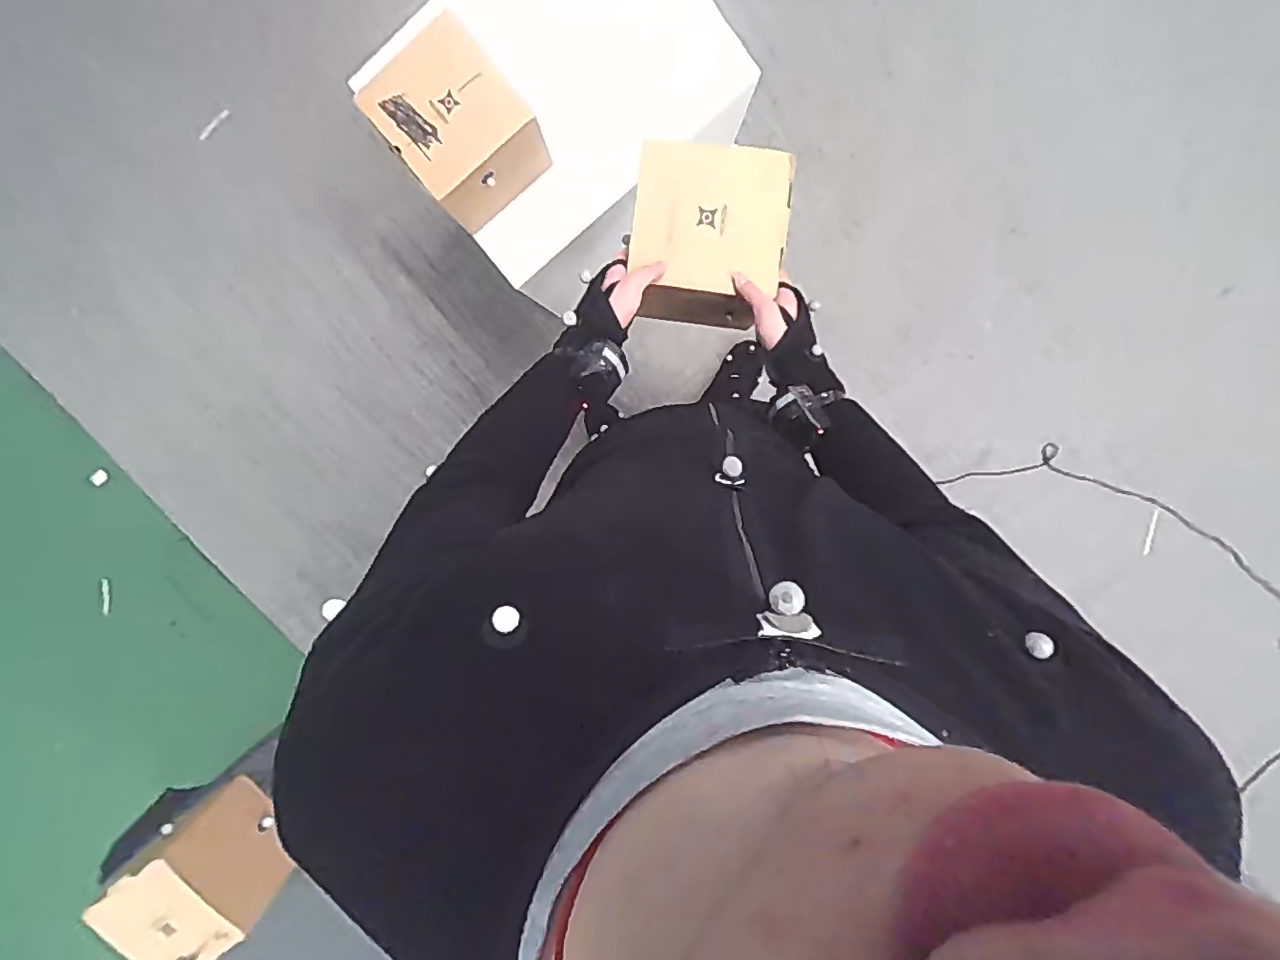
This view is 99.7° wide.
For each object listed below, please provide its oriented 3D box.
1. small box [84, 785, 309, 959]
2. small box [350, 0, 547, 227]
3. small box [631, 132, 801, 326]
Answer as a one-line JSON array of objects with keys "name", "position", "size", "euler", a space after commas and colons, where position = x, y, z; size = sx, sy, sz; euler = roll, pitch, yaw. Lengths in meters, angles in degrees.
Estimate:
[{"name": "small box", "position": [-0.686, 0.627, 0.860], "size": [0.168, 0.176, 0.179], "euler": [-36, 100, 7]}, {"name": "small box", "position": [-0.252, -0.492, 0.761], "size": [0.179, 0.176, 0.168], "euler": [-39, 100, 5]}, {"name": "small box", "position": [0.083, -0.298, 0.680], "size": [0.179, 0.176, 0.168], "euler": [5, 93, -1]}]
